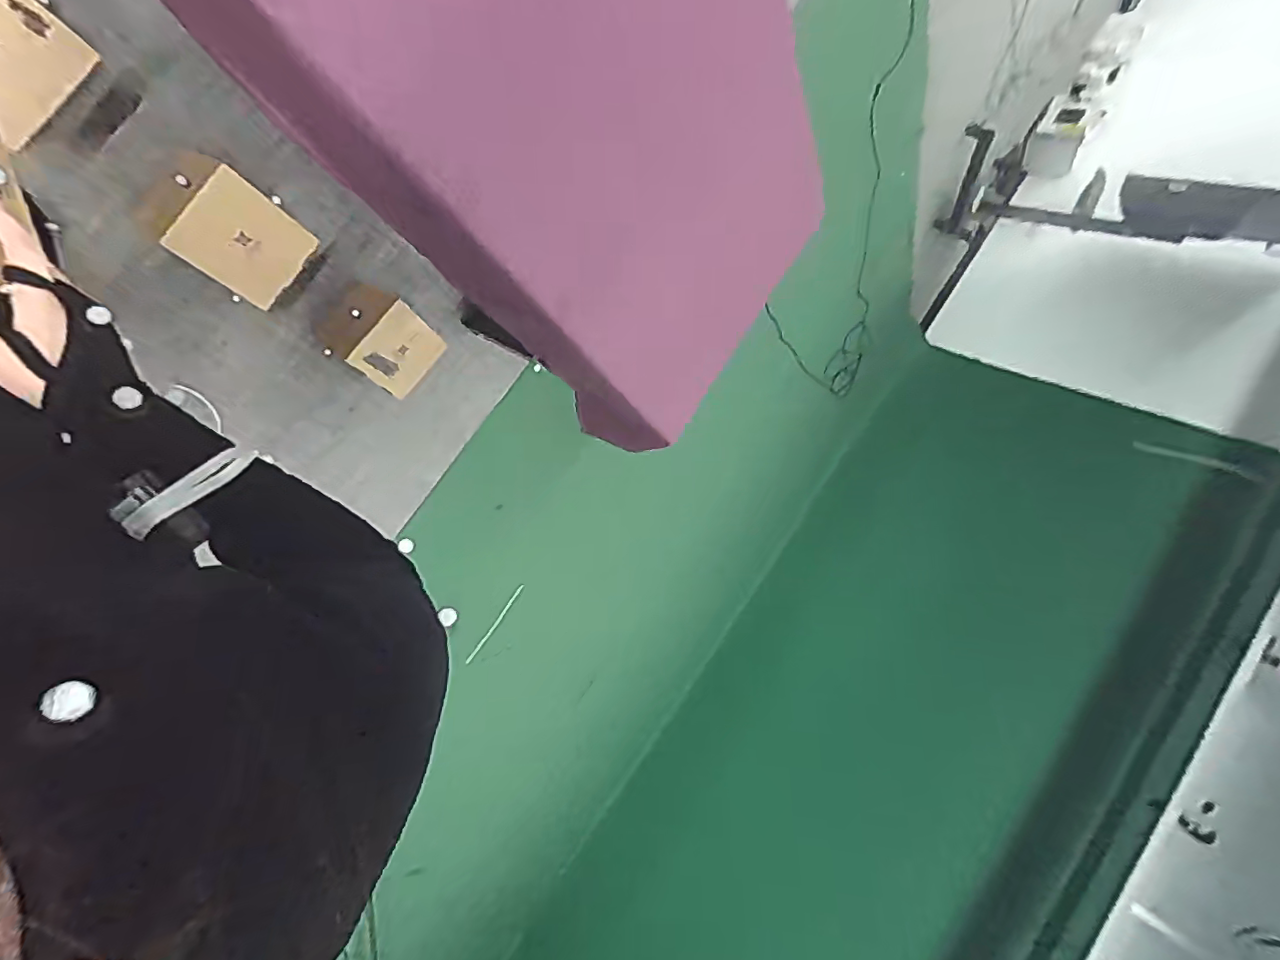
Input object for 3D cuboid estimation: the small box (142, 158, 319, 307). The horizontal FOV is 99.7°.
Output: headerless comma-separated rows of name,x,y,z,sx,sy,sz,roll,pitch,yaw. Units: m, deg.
small box,-0.732,-0.445,0.966,0.168,0.176,0.179,-56,147,-4
